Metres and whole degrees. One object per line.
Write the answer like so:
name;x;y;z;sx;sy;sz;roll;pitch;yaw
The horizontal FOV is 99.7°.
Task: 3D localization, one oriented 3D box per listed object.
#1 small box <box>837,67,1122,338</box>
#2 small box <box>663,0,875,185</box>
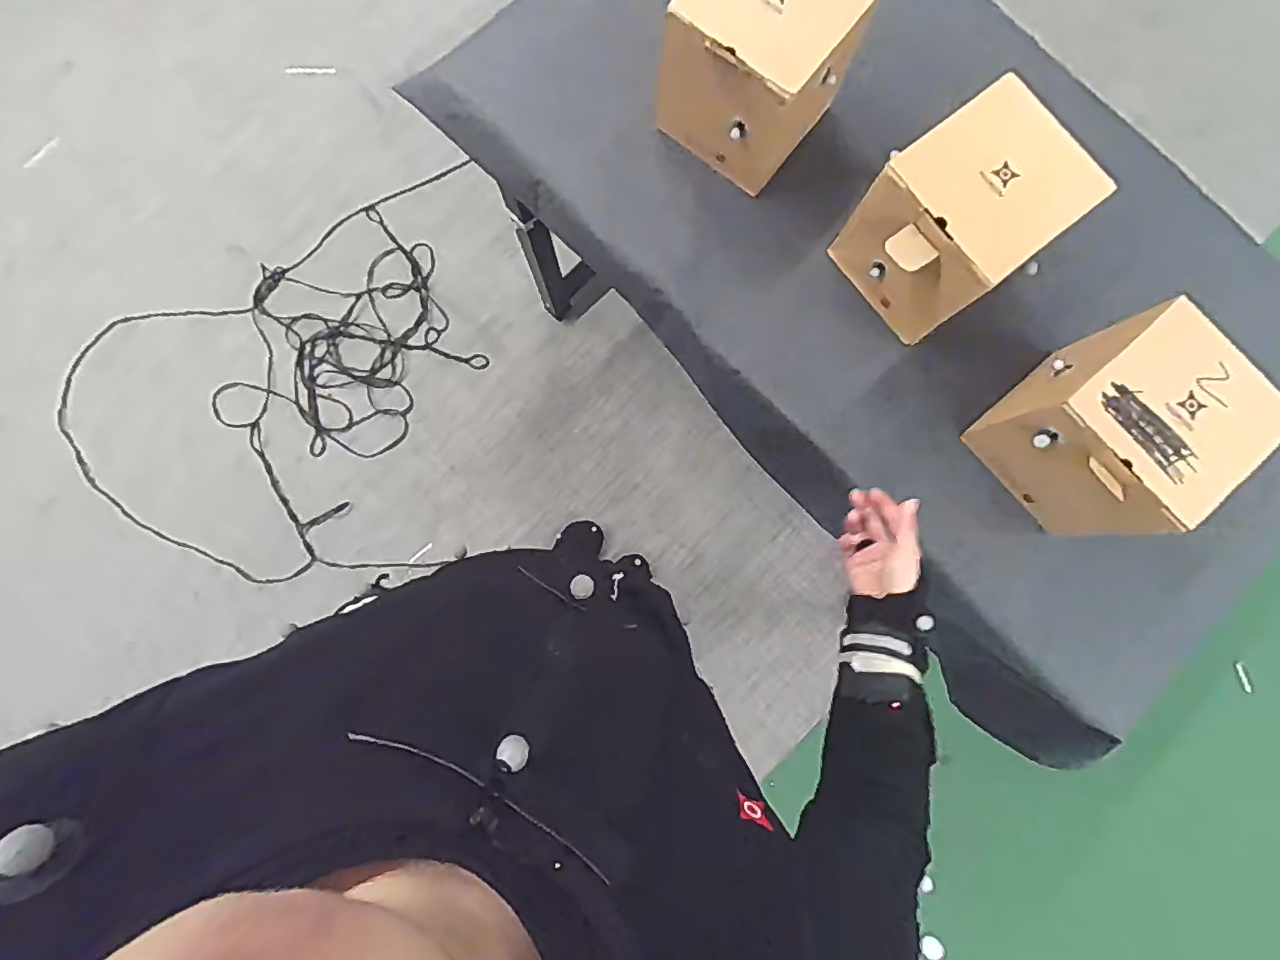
small box;0.362;-0.296;0.614;0.179;0.176;0.168;-38;86;-5
small box;0.139;-0.495;0.631;0.168;0.176;0.179;38;83;1
